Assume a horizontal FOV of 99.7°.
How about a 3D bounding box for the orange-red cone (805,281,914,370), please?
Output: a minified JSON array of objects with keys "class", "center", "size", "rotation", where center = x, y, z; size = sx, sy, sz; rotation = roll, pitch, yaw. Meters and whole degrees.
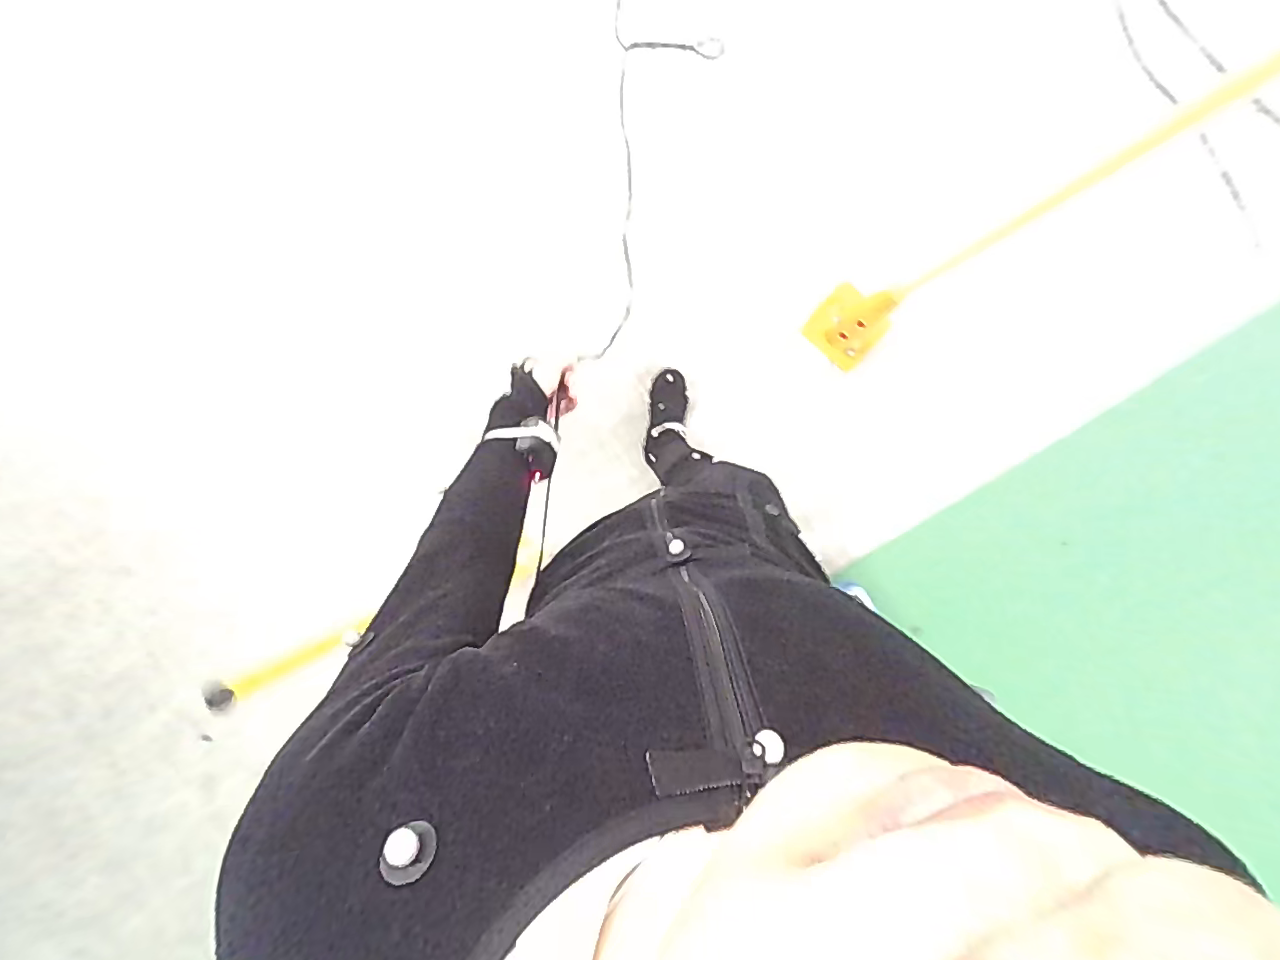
[{"class":"orange-red cone","center":[0.596,-0.431,1.377],"size":[0.198,0.360,0.199],"rotation":[43,93,-2]}]
